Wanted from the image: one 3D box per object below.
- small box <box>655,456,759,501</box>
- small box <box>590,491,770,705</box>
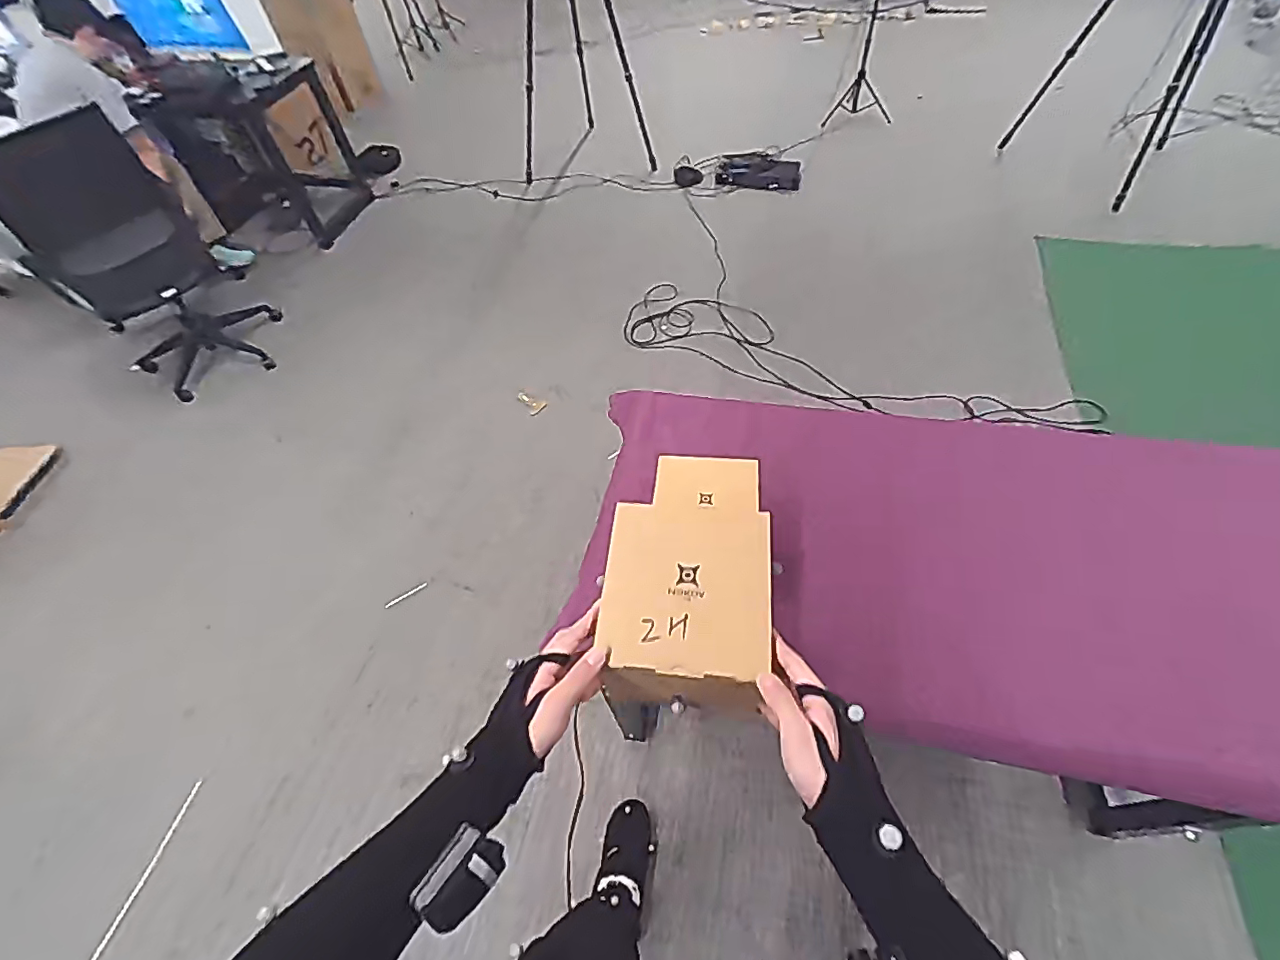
[{"bbox_3d":[0.107,0.082,0.902,0.168,0.176,0.179,3,54,7],"label":"small box"},{"bbox_3d":[0.050,0.133,0.599,0.168,0.176,0.179,3,58,8],"label":"small box"}]
